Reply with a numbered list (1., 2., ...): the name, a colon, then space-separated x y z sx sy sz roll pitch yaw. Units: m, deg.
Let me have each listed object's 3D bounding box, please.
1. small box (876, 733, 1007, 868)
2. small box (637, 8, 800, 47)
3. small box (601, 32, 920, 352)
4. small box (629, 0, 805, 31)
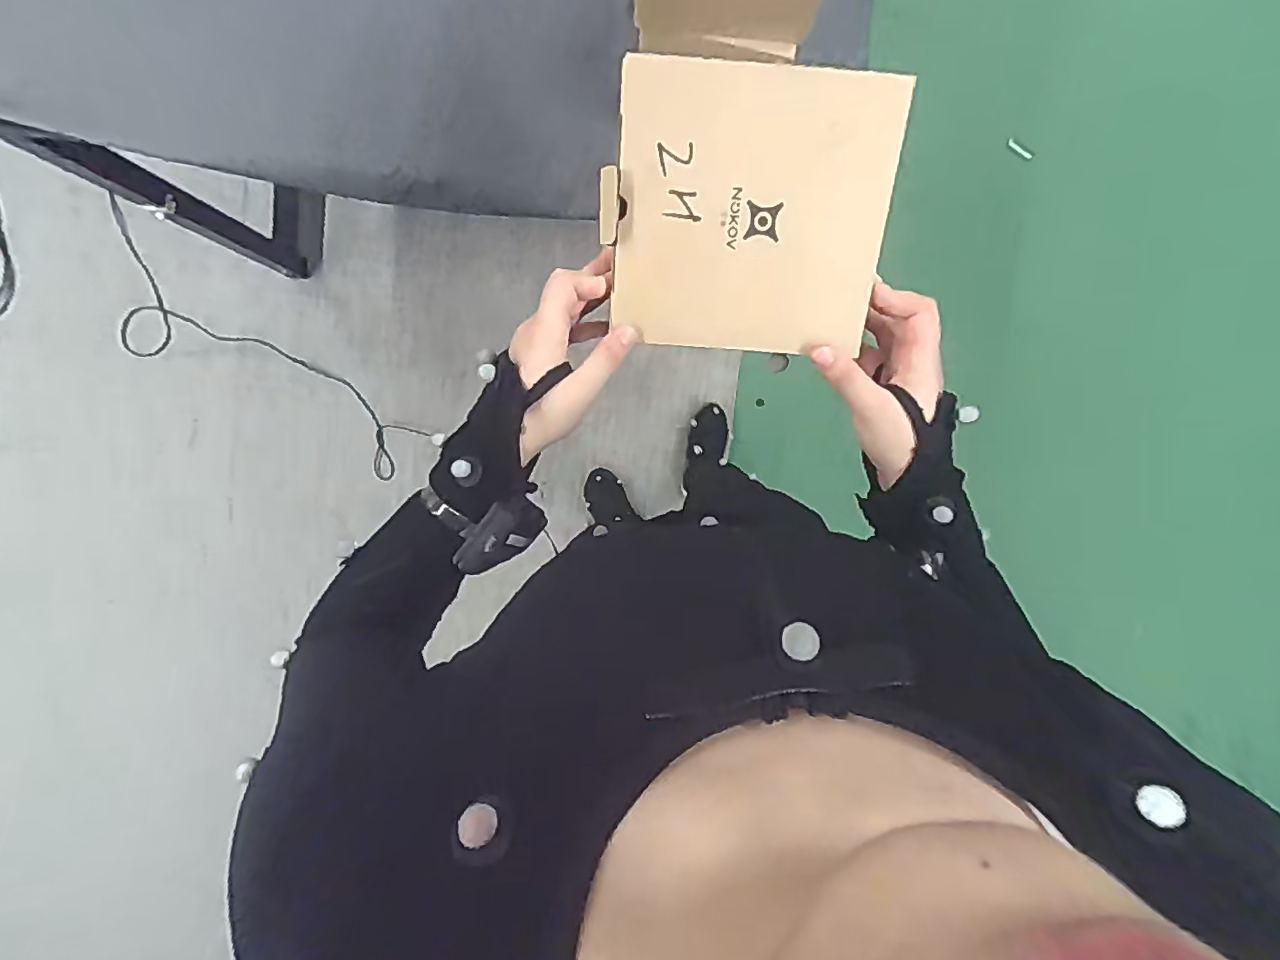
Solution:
1. small box: 0.619 0.659 1.131 0.168 0.176 0.179 9 93 -3
2. small box: 0.088 -0.535 0.622 0.168 0.176 0.179 11 92 -1
3. small box: 0.069 -0.197 0.406 0.179 0.176 0.168 5 110 1
4. small box: 0.081 -0.531 0.460 0.179 0.176 0.168 4 90 0
